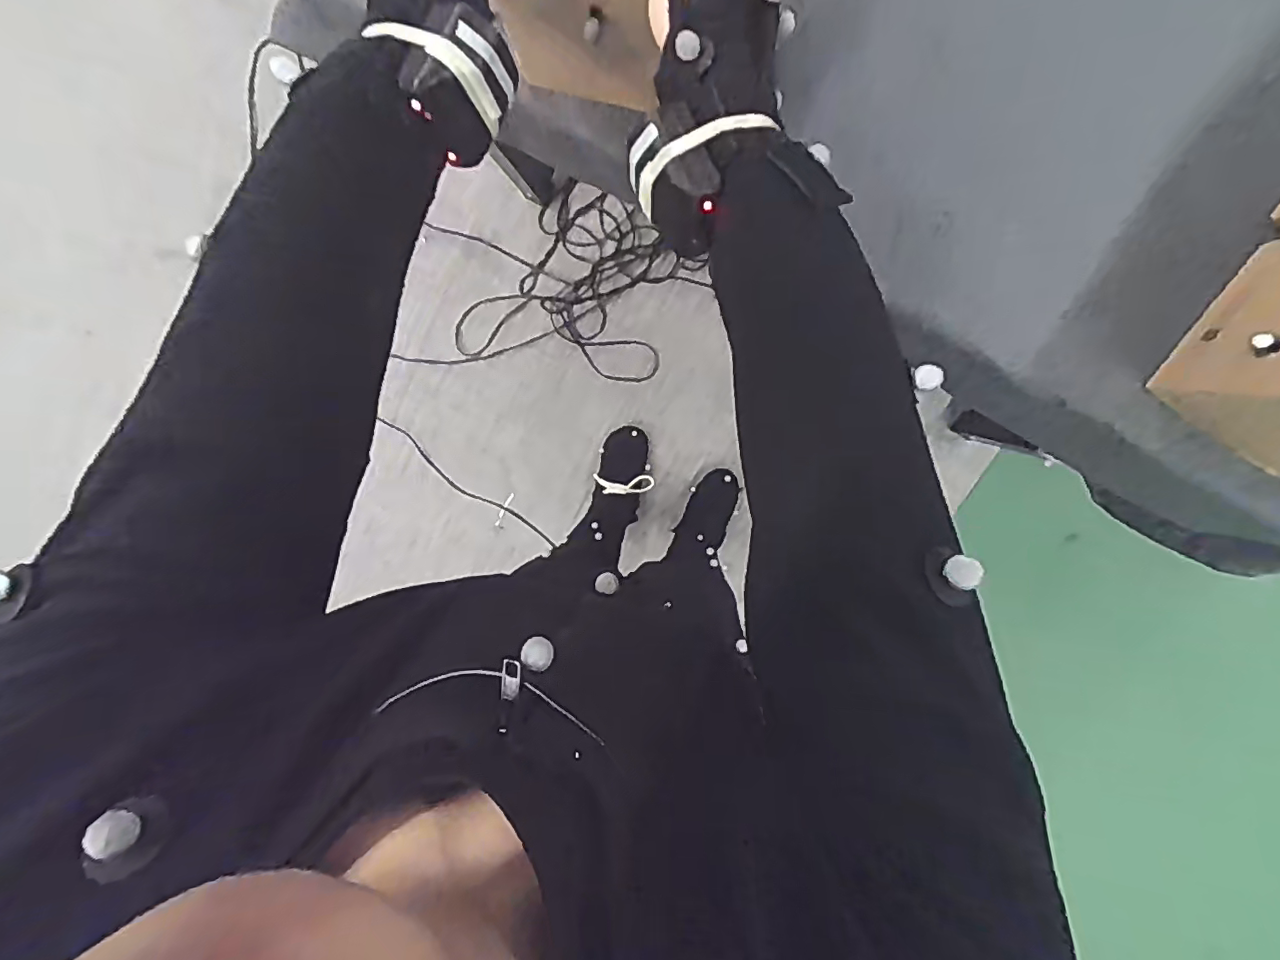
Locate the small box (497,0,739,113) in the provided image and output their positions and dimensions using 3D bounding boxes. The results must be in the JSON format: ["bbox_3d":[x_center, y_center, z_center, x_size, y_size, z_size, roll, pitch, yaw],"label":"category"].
[{"bbox_3d":[-0.003,-0.415,0.409,0.179,0.176,0.168,14,102,-1],"label":"small box"}]
